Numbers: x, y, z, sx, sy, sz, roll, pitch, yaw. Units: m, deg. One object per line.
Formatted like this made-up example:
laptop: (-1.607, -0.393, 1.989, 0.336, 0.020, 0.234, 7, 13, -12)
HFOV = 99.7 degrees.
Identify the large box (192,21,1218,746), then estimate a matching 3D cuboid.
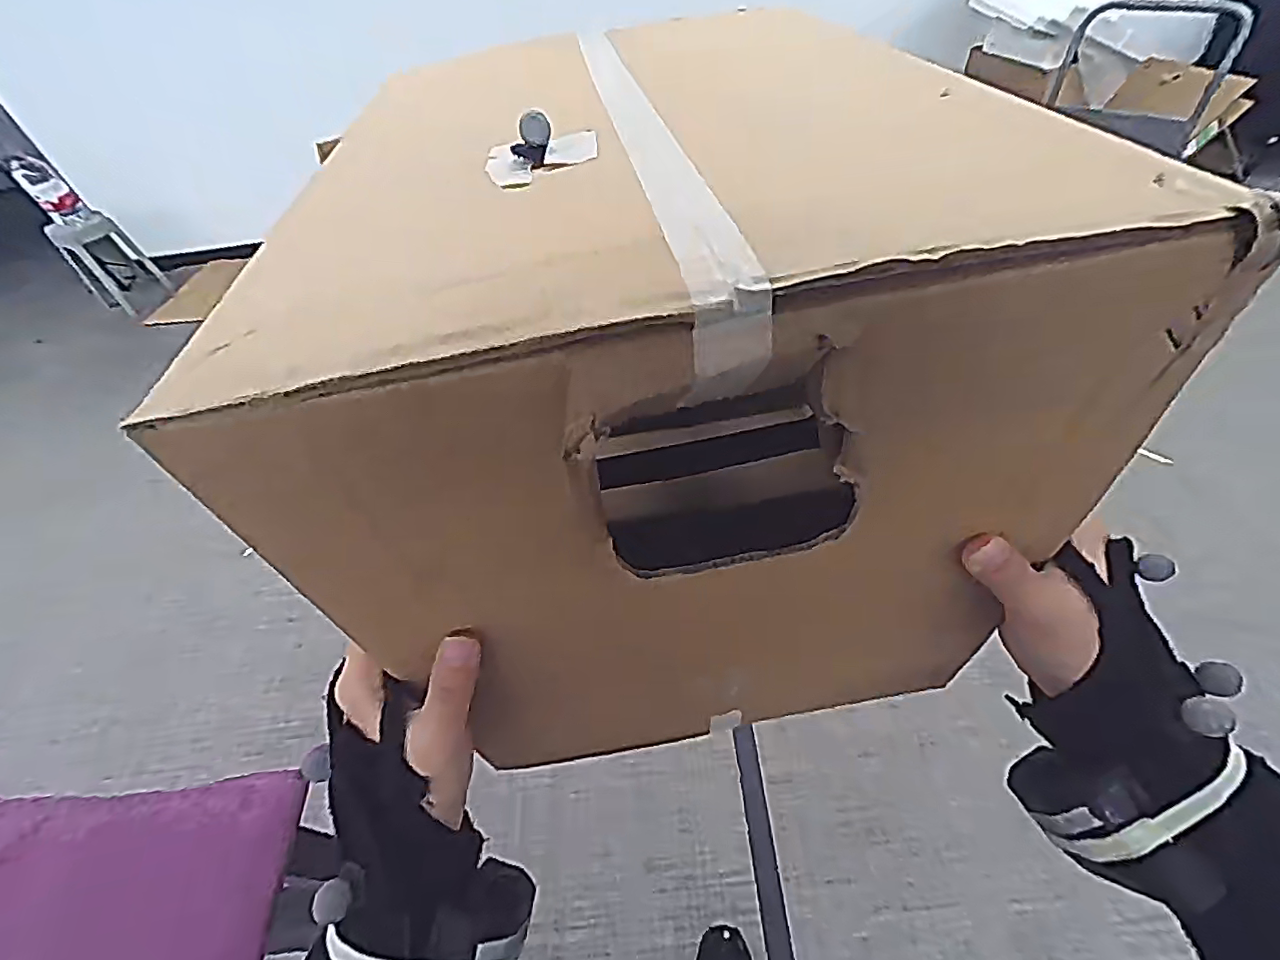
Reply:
large box: (0.004, -0.086, 0.395, 0.320, 0.320, 0.408, -12, 48, -1)
